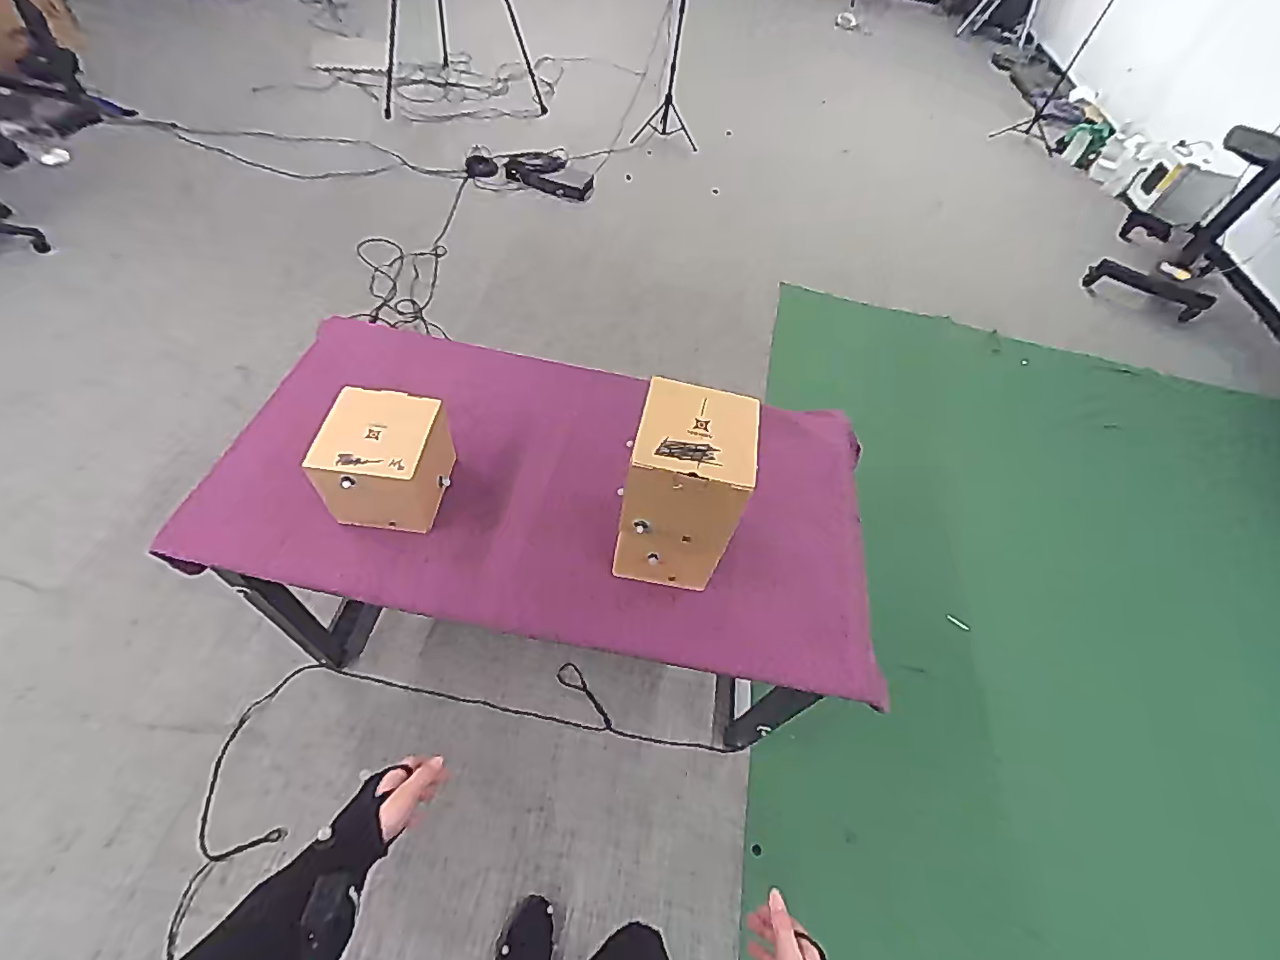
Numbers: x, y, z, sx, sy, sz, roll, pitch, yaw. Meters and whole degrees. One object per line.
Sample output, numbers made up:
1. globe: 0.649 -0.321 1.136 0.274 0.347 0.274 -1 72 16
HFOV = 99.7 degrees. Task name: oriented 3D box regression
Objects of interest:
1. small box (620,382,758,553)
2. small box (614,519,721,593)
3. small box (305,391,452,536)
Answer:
1. small box: 0.069 -0.014 0.809 0.168 0.176 0.179 13 51 1
2. small box: 0.050 0.078 0.945 0.168 0.176 0.179 10 52 -1
3. small box: -0.437 -0.026 0.942 0.168 0.176 0.179 7 53 -3
